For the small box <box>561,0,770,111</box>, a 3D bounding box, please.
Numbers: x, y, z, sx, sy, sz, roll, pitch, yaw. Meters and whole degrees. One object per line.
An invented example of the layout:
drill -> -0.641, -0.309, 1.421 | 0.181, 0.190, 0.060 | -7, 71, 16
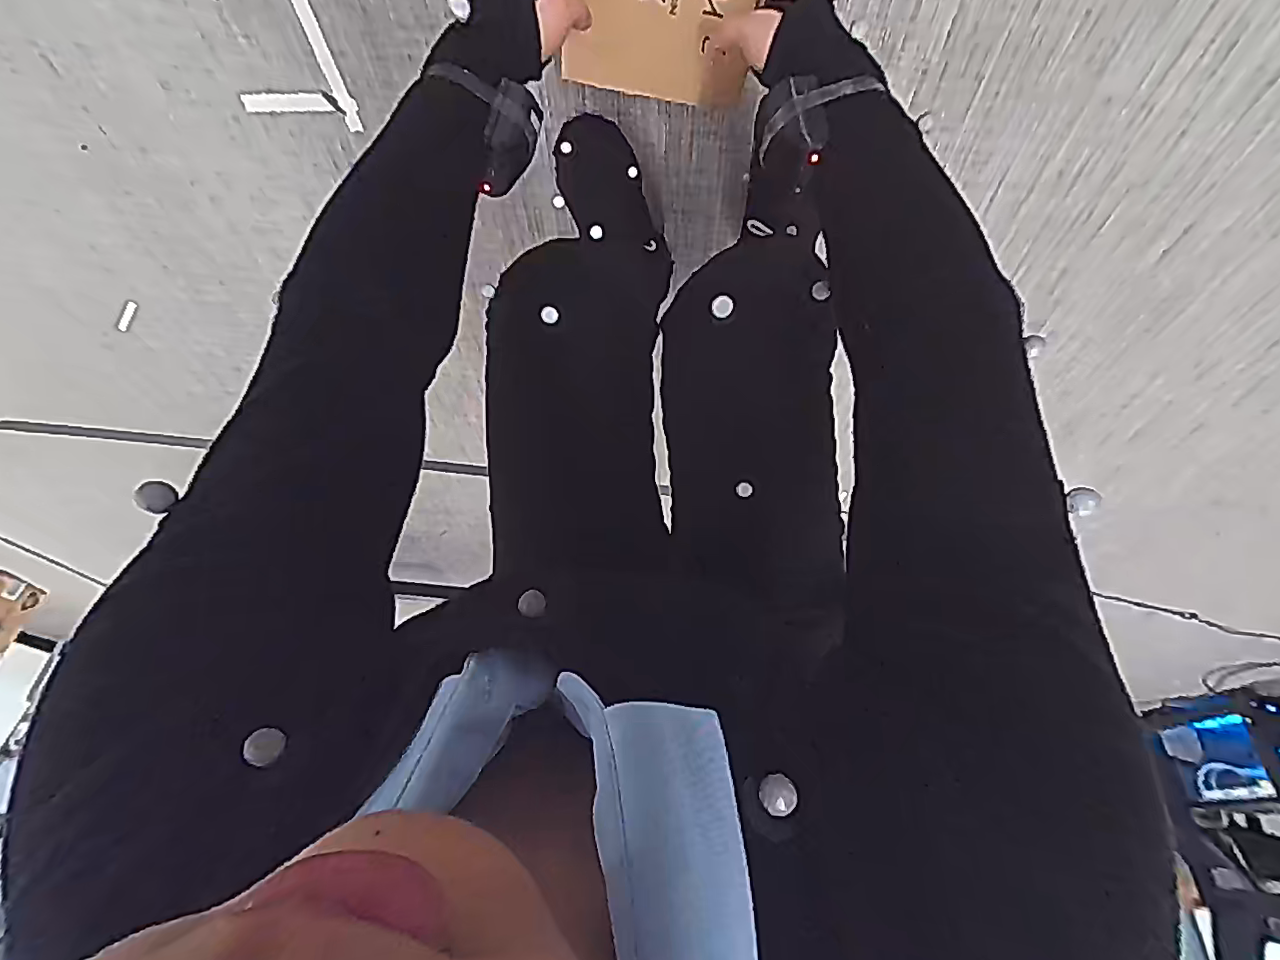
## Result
small box -> 0.032, -0.479, 0.492 | 0.179, 0.176, 0.168 | 9, 147, -3
